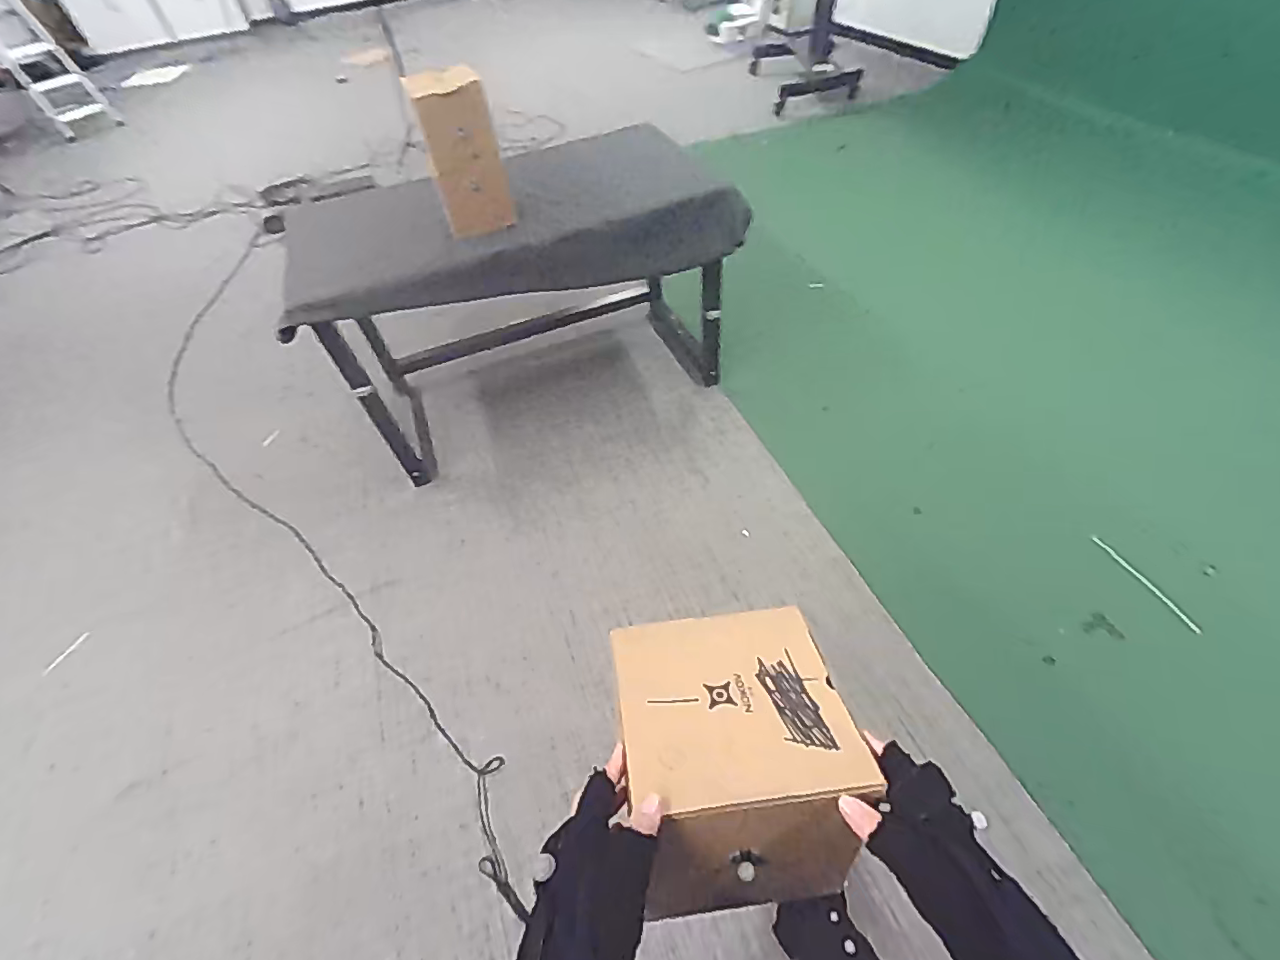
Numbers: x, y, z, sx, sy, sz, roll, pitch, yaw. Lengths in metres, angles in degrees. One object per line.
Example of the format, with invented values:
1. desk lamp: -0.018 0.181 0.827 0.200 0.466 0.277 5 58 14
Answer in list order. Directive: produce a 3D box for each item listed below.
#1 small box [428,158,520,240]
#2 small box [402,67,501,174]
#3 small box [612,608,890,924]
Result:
1. small box: -0.442 -0.769 1.450 0.179 0.176 0.168 -20 52 -12
2. small box: -0.457 -0.876 1.327 0.168 0.176 0.179 -22 53 -11
3. small box: 0.072 0.237 0.464 0.179 0.176 0.168 -5 33 -10
